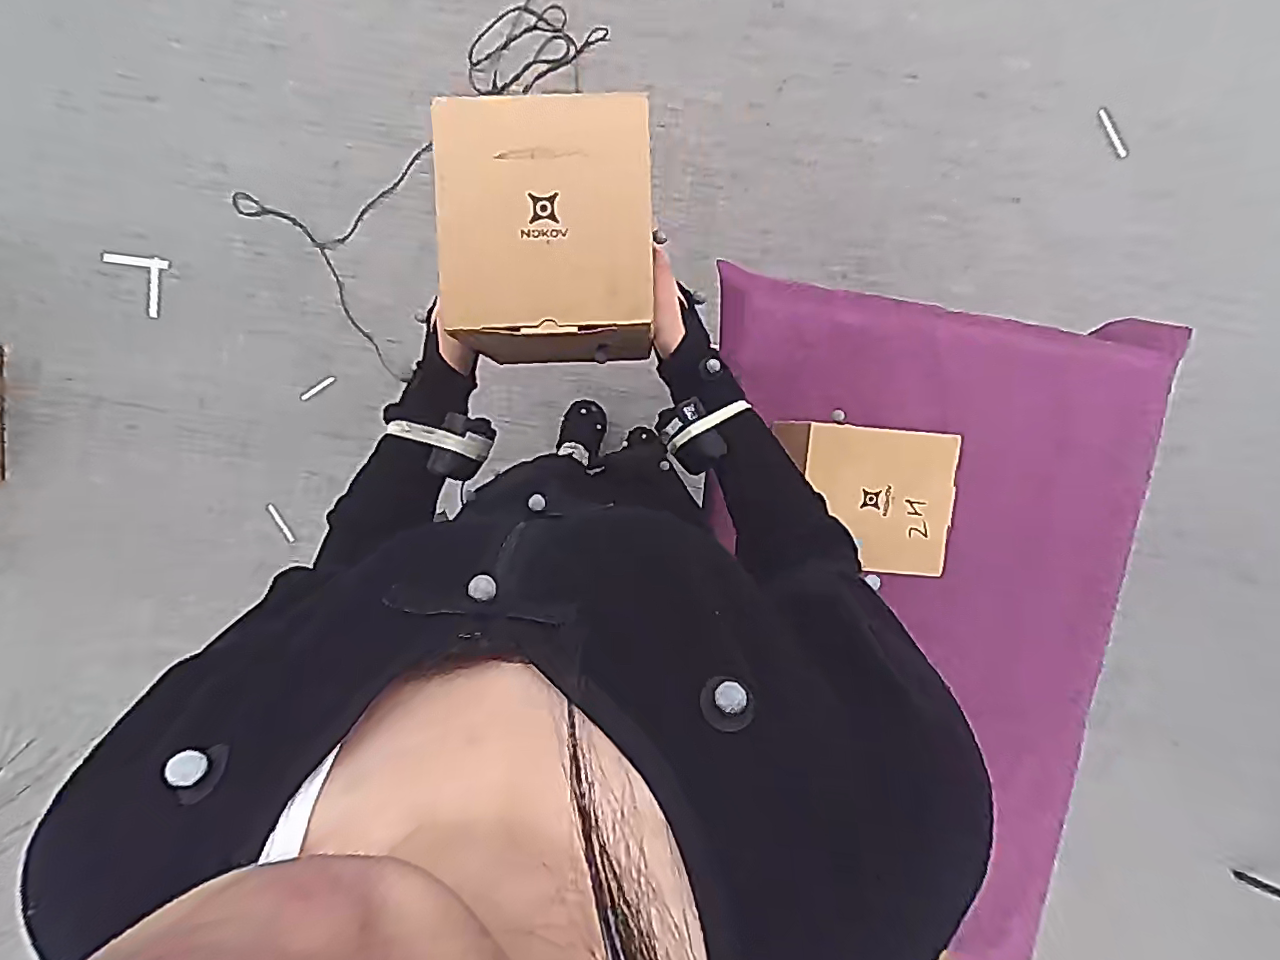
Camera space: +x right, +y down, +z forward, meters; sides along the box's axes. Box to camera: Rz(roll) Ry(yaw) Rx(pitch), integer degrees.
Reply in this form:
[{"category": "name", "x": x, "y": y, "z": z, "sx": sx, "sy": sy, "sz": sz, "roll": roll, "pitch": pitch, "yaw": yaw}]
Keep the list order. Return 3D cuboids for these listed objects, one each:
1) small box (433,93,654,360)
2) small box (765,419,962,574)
[{"category": "small box", "x": -0.073, "y": -0.207, "z": 0.491, "sx": 0.168, "sy": 0.176, "sz": 0.179, "roll": -2, "pitch": 93, "yaw": -1}, {"category": "small box", "x": 0.270, "y": 0.013, "z": 0.696, "sx": 0.179, "sy": 0.176, "sz": 0.168, "roll": 5, "pitch": 96, "yaw": -2}]
